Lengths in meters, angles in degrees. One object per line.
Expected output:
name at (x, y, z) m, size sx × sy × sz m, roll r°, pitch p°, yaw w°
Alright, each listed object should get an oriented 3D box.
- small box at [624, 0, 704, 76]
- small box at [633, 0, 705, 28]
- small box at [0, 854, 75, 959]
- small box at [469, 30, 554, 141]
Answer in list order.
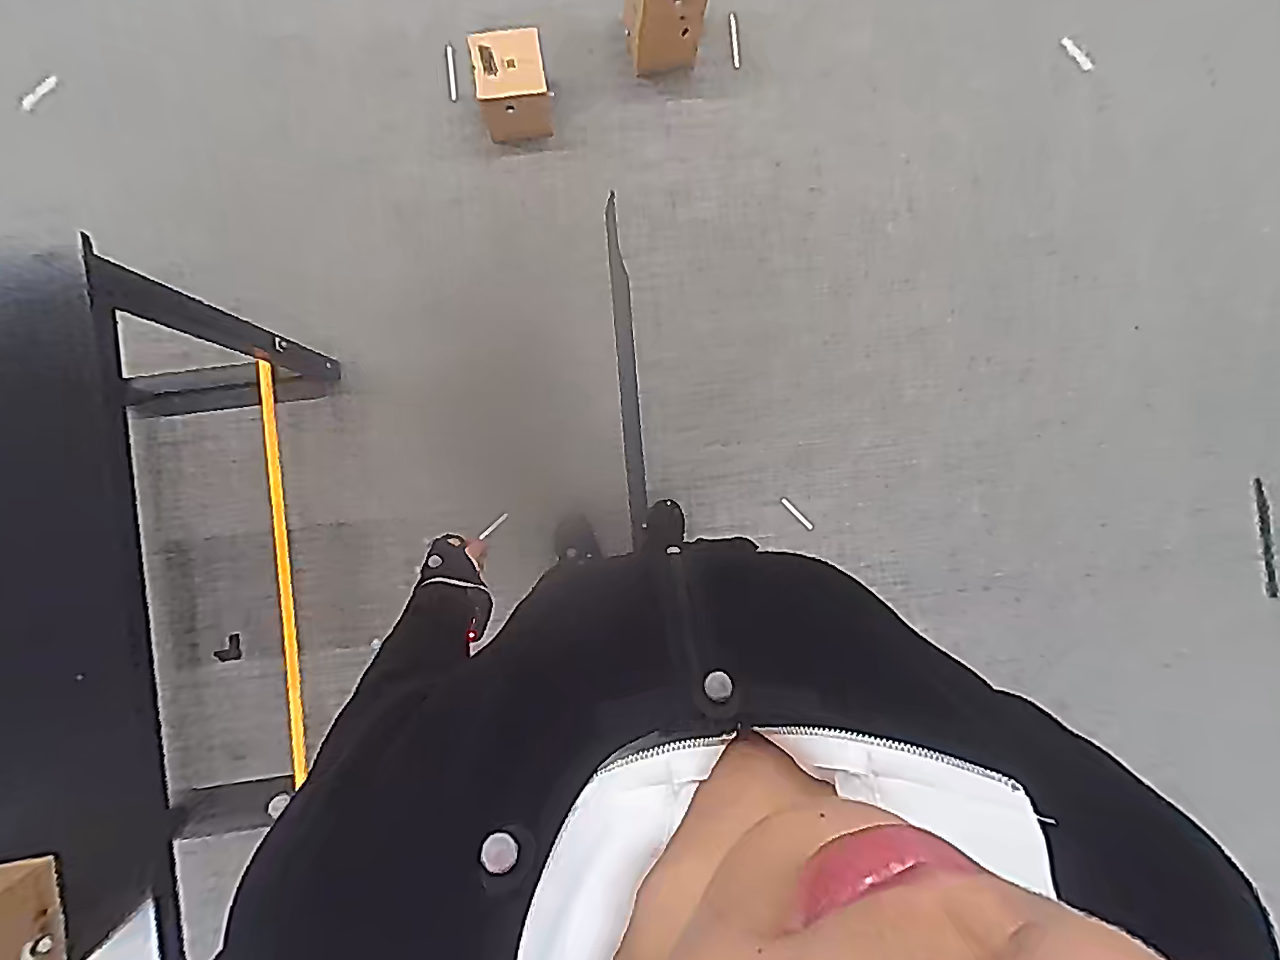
small box at (0.059, -1.231, 1.446) m, size 0.179 × 0.176 × 0.168 m, roll -12°, pitch 90°, yaw -3°
small box at (0.067, -1.224, 1.283) m, size 0.168 × 0.176 × 0.179 m, roll -13°, pitch 91°, yaw -3°
small box at (-0.856, 0.595, 0.648) m, size 0.179 × 0.176 × 0.168 m, roll -9°, pitch 91°, yaw -3°
small box at (-0.333, -1.027, 1.422) m, size 0.179 × 0.176 × 0.168 m, roll -9°, pitch 90°, yaw -3°
